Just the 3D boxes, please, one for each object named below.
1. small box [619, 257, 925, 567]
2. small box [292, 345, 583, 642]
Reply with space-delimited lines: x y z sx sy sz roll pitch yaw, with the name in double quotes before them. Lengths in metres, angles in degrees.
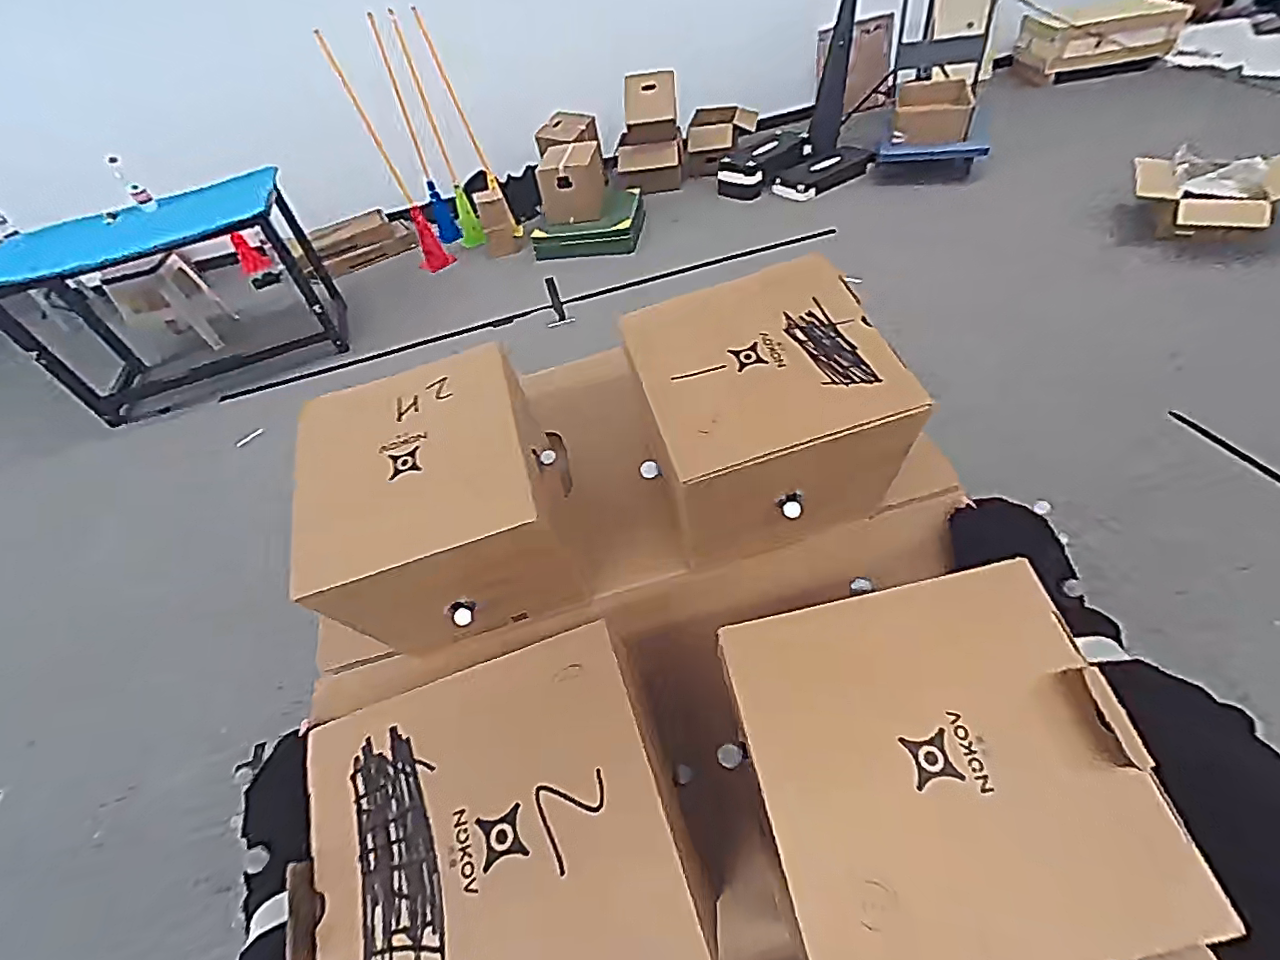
"small box" 0.095 -0.047 0.458 0.179 0.176 0.168 -17 59 0
"small box" -0.156 0.024 0.459 0.168 0.176 0.179 -17 59 -2
